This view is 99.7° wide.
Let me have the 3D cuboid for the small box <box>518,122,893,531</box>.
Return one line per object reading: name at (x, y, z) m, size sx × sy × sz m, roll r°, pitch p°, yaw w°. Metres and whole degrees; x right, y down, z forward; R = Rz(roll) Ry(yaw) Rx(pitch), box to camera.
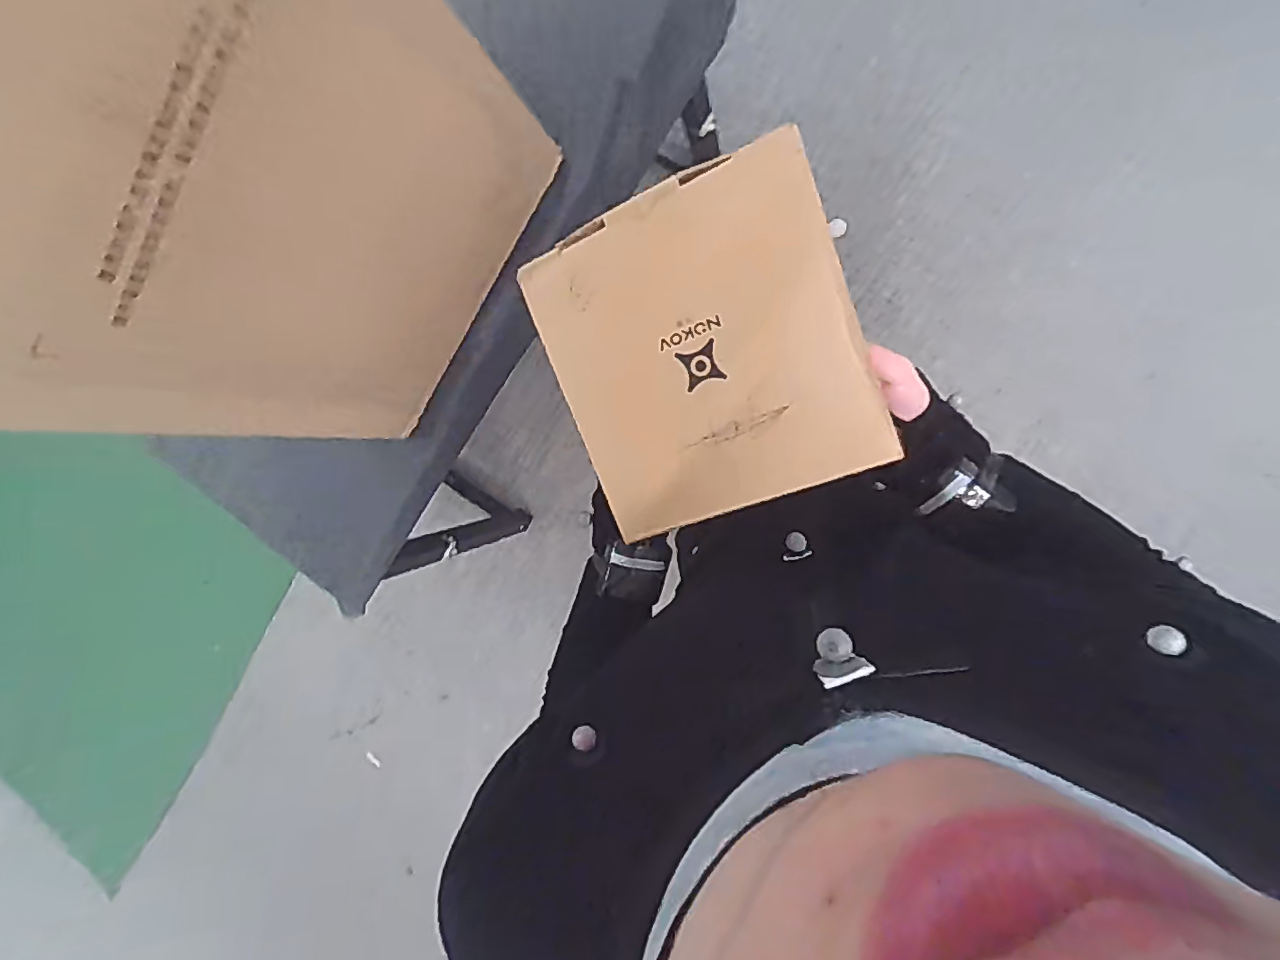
small box at (0.052, -0.090, 0.370) m, size 0.168 × 0.176 × 0.179 m, roll -18°, pitch 100°, yaw 21°
